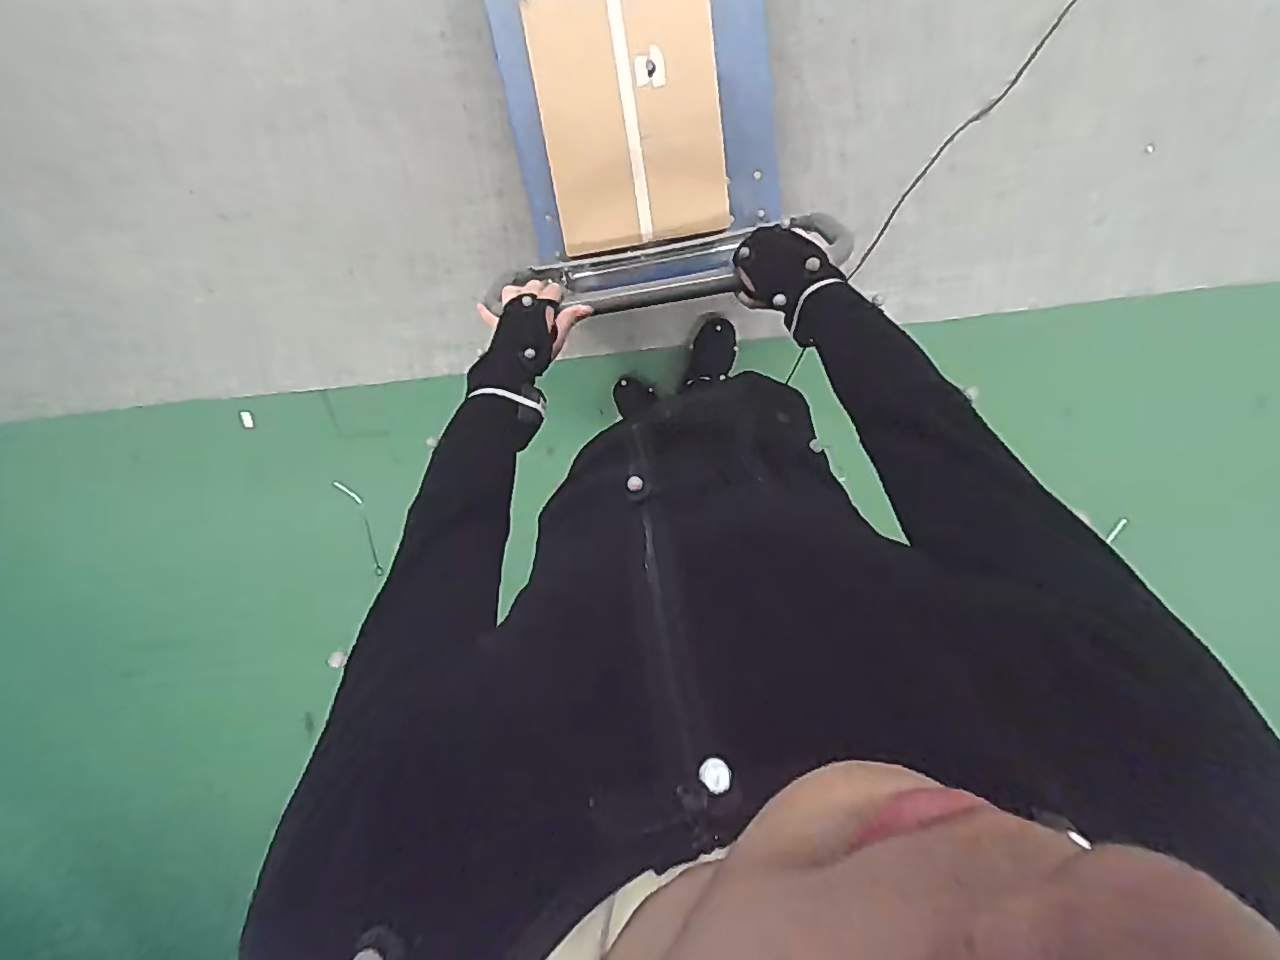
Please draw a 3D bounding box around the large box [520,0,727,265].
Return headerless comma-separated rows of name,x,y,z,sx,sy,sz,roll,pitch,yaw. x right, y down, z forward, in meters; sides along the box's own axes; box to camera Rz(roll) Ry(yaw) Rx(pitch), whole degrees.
large box,-0.012,-0.685,1.100,0.320,0.320,0.408,-8,108,5
